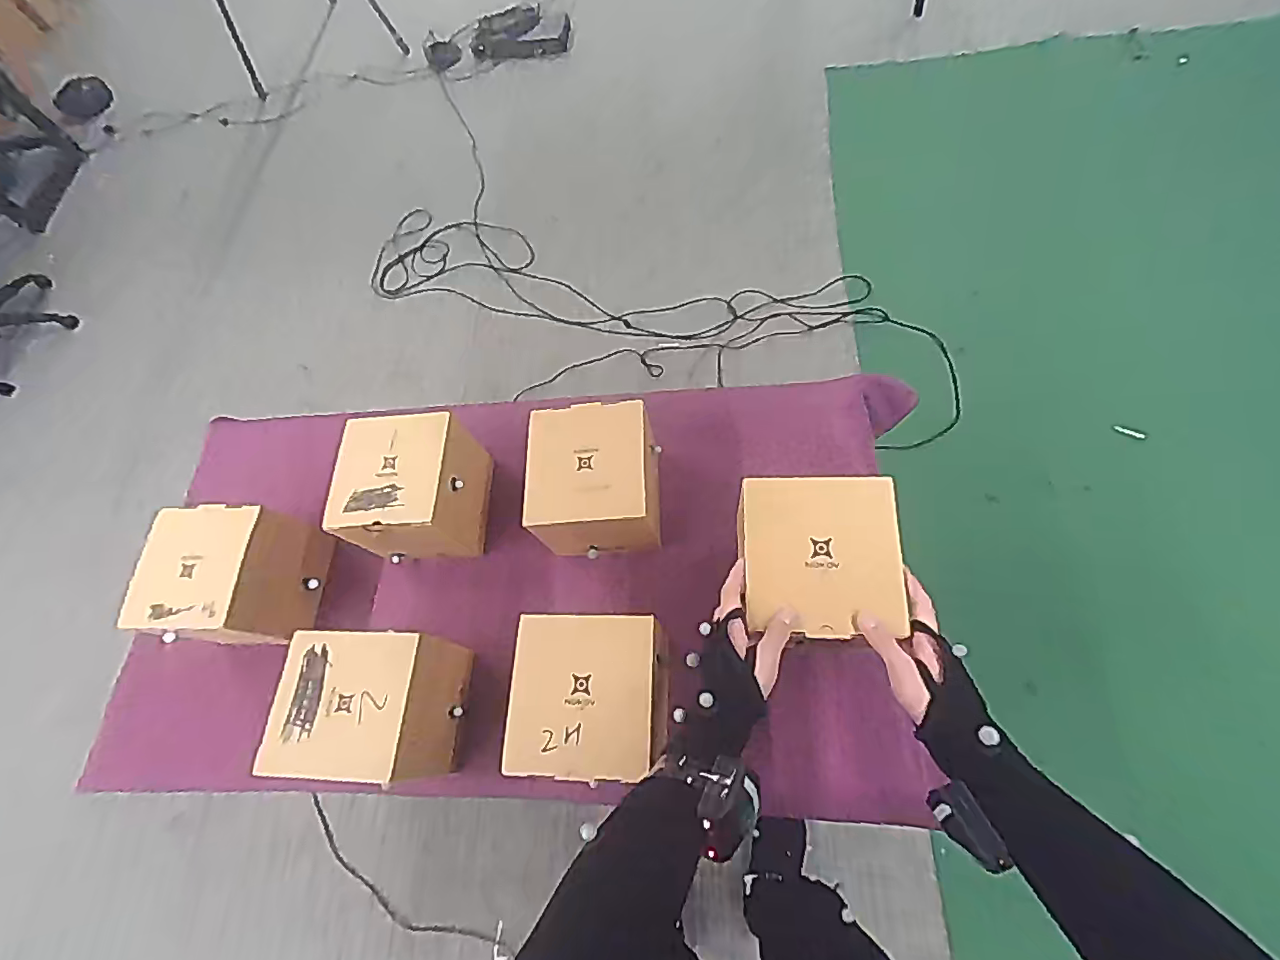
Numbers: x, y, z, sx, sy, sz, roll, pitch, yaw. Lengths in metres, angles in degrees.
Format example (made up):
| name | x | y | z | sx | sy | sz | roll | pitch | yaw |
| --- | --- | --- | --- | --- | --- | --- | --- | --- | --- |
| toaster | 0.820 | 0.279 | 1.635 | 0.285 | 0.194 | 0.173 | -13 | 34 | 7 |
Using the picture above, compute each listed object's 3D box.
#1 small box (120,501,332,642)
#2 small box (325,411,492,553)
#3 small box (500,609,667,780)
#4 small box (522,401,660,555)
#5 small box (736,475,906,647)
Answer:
| name | x | y | z | sx | sy | sz | roll | pitch | yaw |
| --- | --- | --- | --- | --- | --- | --- | --- | --- | --- |
| small box | -0.609 | 0.144 | 0.824 | 0.168 | 0.176 | 0.179 | -2 | 66 | 10 |
| small box | -0.344 | 0.013 | 0.842 | 0.168 | 0.176 | 0.179 | -3 | 66 | 8 |
| small box | -0.057 | 0.269 | 0.683 | 0.168 | 0.176 | 0.179 | -1 | 66 | 9 |
| small box | -0.062 | 0.004 | 0.803 | 0.168 | 0.176 | 0.179 | -4 | 67 | 8 |
| small box | 0.205 | 0.105 | 0.662 | 0.168 | 0.176 | 0.179 | 0 | 70 | 8 |
